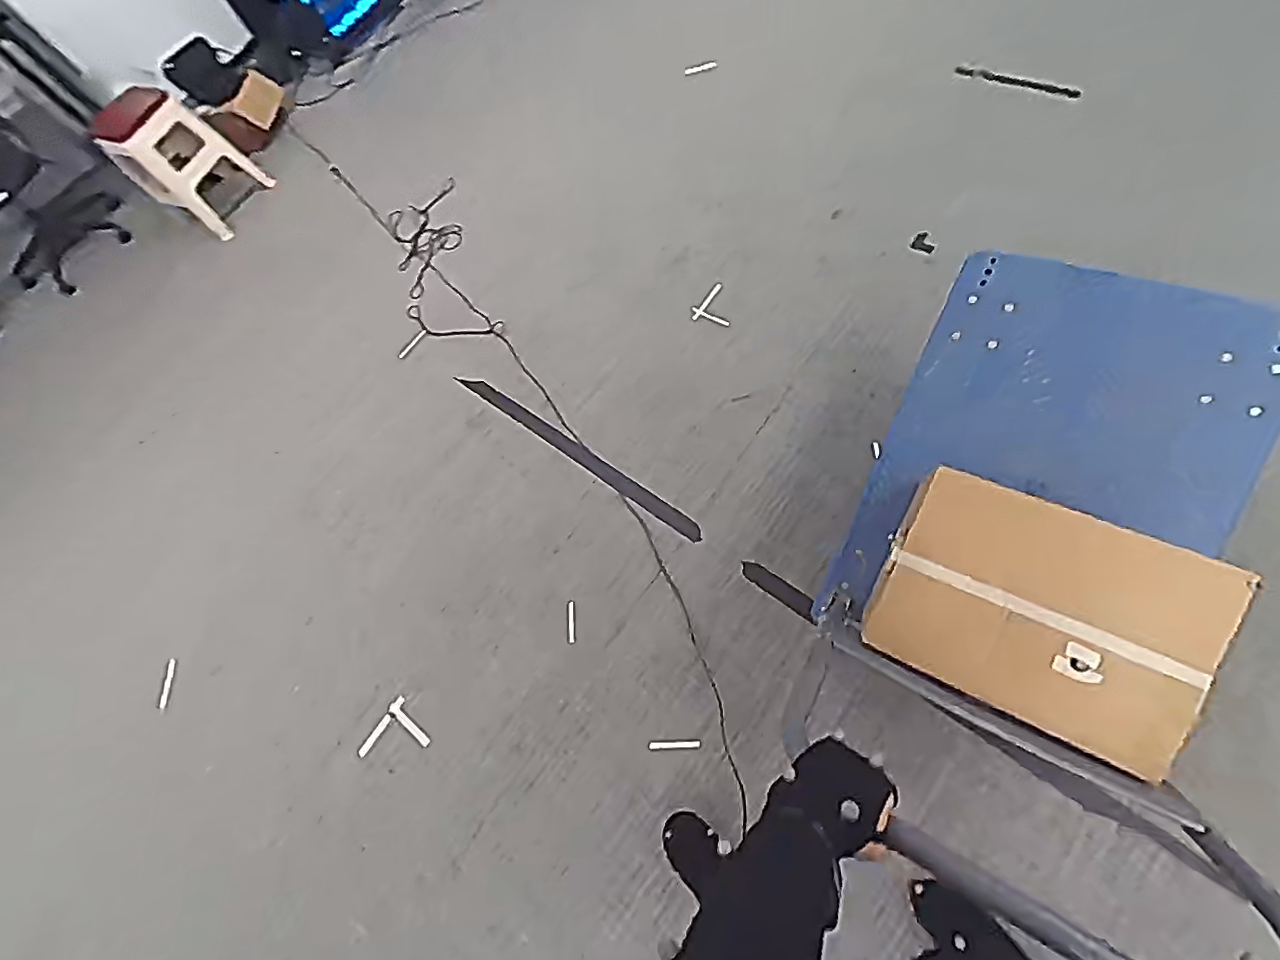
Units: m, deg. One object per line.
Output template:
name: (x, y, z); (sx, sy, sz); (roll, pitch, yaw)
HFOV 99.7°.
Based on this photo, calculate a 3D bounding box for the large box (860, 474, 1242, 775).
large box: (0.641, 0.212, 0.947); (0.408, 0.320, 0.320); (24, 95, 22)
